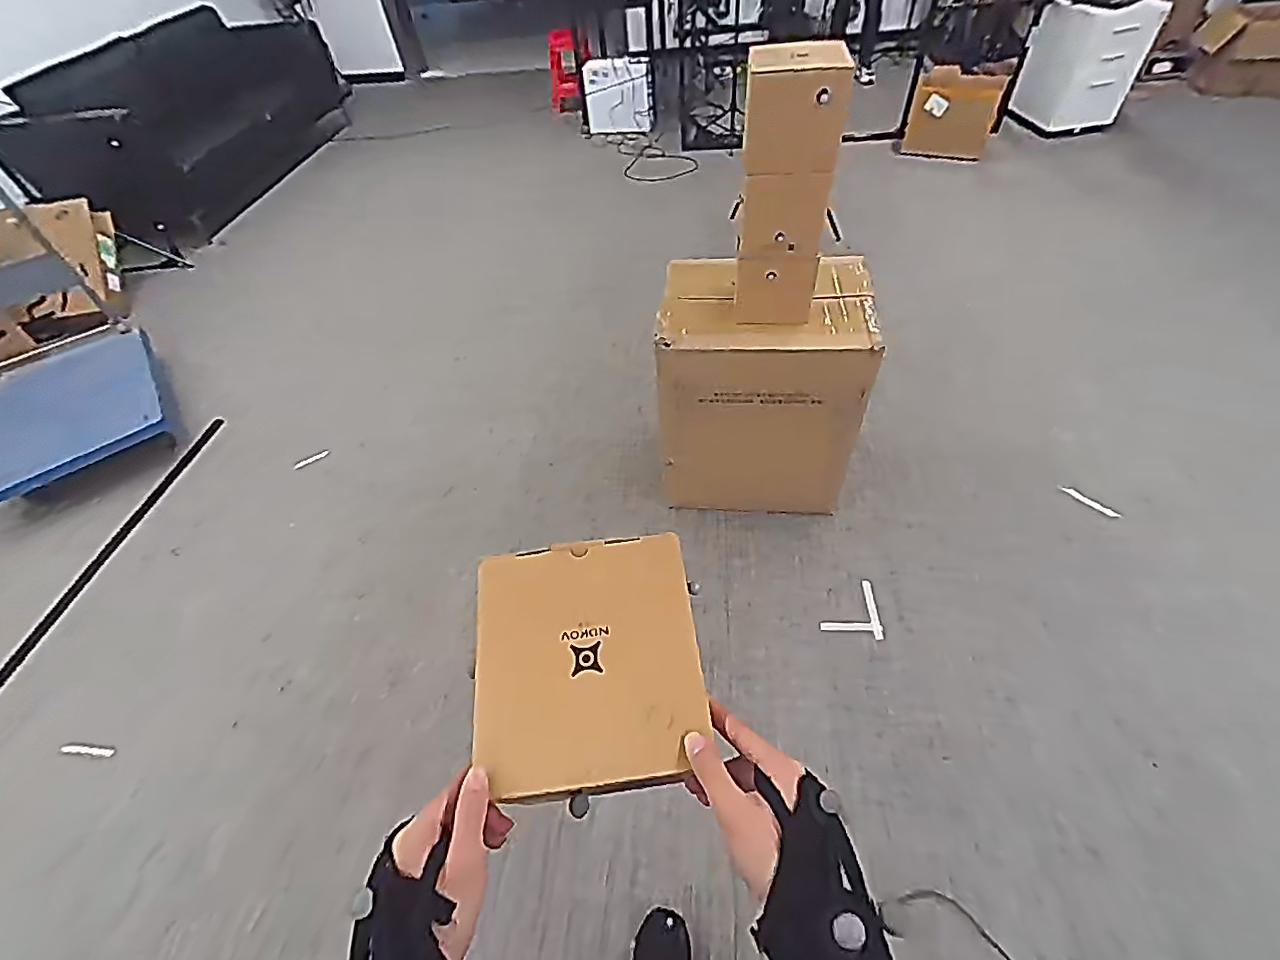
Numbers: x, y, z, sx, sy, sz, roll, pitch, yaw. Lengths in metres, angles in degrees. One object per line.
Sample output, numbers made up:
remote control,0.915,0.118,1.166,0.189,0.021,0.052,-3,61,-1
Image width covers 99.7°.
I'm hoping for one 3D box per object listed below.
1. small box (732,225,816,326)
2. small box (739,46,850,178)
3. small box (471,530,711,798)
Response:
small box,0.308,-0.481,1.280,0.179,0.176,0.168,2,50,7
small box,0.284,-0.698,1.033,0.179,0.176,0.168,2,50,8
small box,-0.036,0.166,0.467,0.168,0.176,0.179,-8,57,-2
